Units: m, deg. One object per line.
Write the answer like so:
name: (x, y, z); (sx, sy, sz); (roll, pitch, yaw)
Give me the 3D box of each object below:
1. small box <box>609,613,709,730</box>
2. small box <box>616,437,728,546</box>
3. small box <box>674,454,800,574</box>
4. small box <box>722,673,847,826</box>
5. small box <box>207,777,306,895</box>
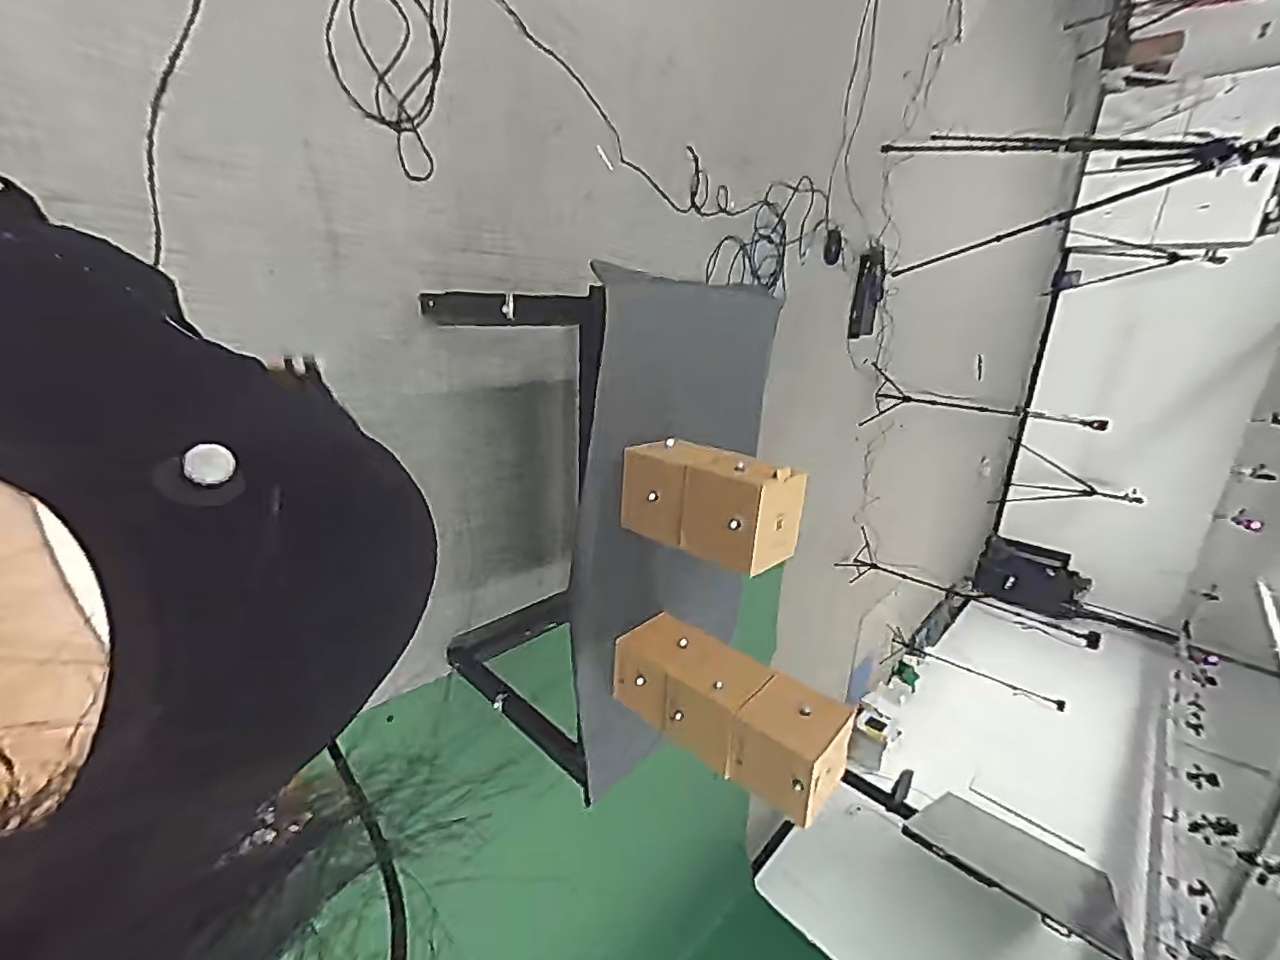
small box: (0.041, 0.440, 1.275); (0.179, 0.176, 0.168); (-16, 115, -46)
small box: (0.064, 0.016, 1.141); (0.168, 0.176, 0.179); (-15, 114, -46)
small box: (0.181, 0.052, 1.035); (0.168, 0.176, 0.179); (-13, 114, -45)
small box: (0.283, 0.516, 1.066); (0.179, 0.176, 0.168); (-21, 118, -45)
small box: (-1.001, 0.910, 1.408); (0.168, 0.176, 0.179); (8, 98, -48)
